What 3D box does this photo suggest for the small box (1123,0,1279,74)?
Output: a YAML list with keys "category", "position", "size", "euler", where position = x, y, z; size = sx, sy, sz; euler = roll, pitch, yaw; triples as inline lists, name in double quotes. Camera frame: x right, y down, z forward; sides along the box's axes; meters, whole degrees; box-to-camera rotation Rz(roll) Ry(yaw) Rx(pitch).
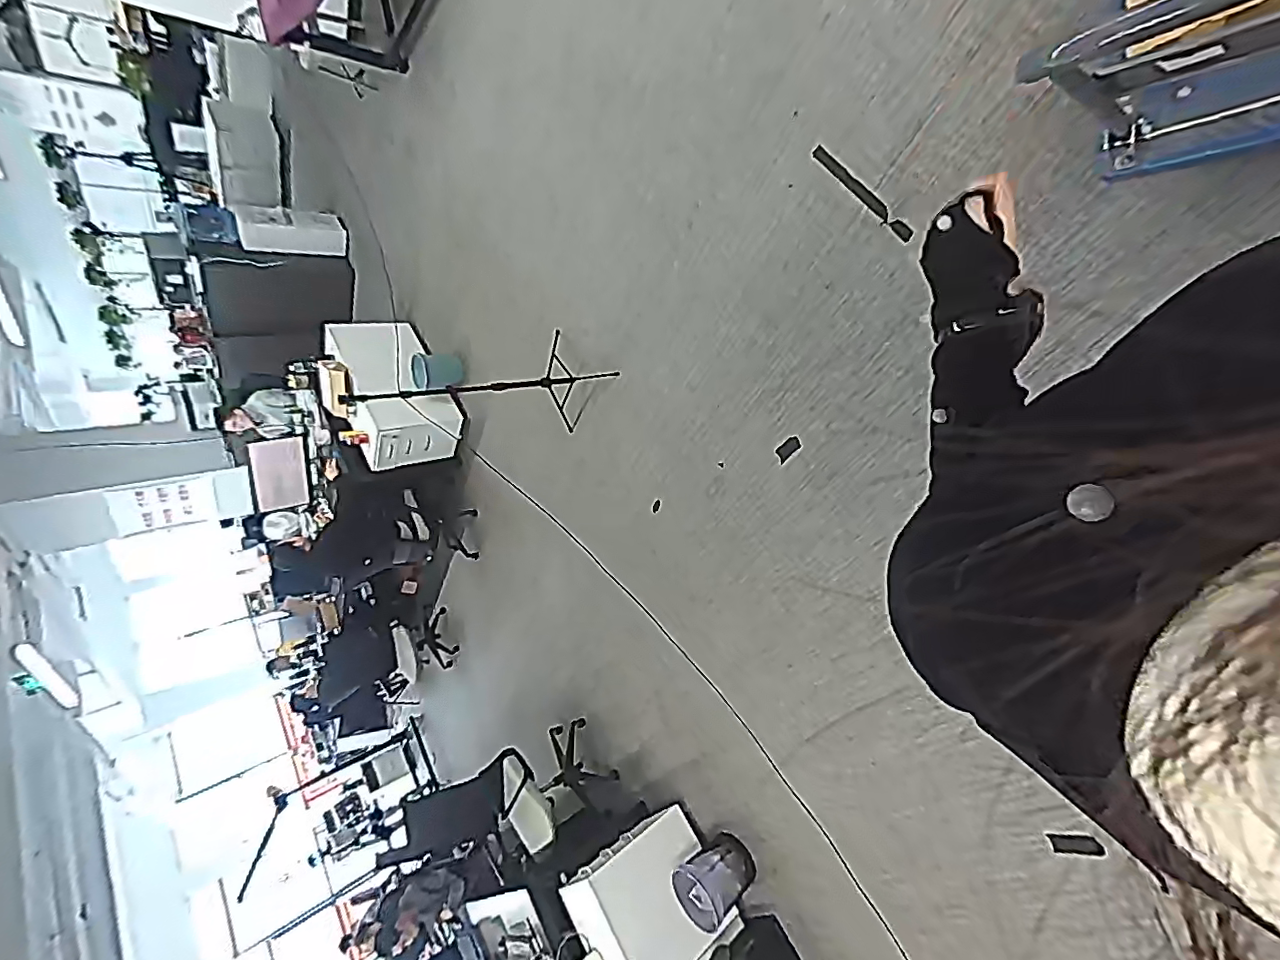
- category: "small box"
  position: [0.834, -0.737, 0.794]
  size: [0.168, 0.176, 0.179]
  euler: [3, 105, 48]
